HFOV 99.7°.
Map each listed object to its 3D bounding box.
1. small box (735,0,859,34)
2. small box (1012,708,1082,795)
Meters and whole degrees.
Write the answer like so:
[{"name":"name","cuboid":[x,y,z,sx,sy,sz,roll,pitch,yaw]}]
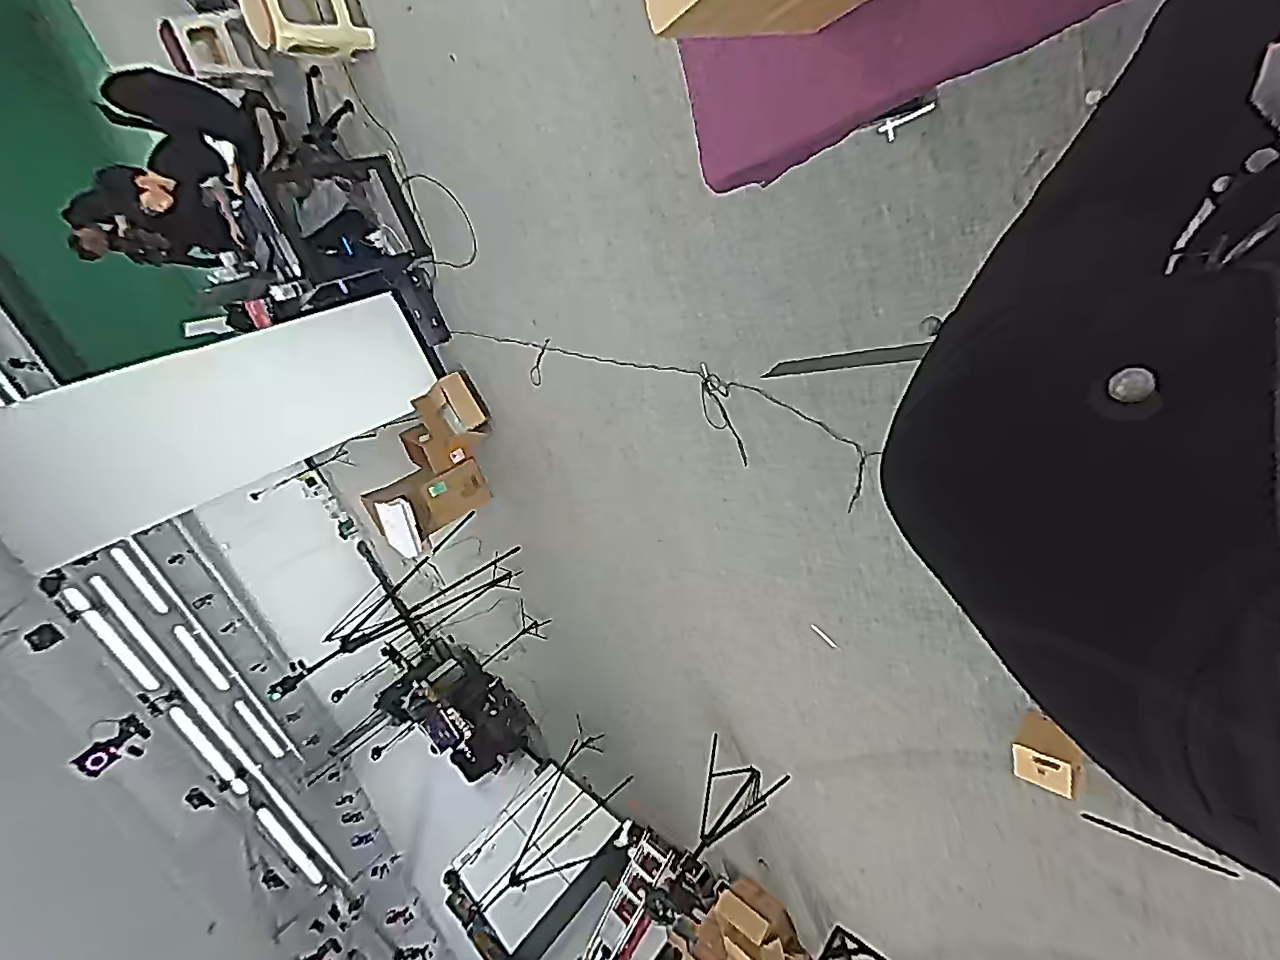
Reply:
[{"name":"small box","cuboid":[0.213,-0.658,0.624,0.179,0.176,0.168,6,123,48]},{"name":"small box","cuboid":[1.414,0.935,1.878,0.168,0.176,0.179,8,126,48]}]
